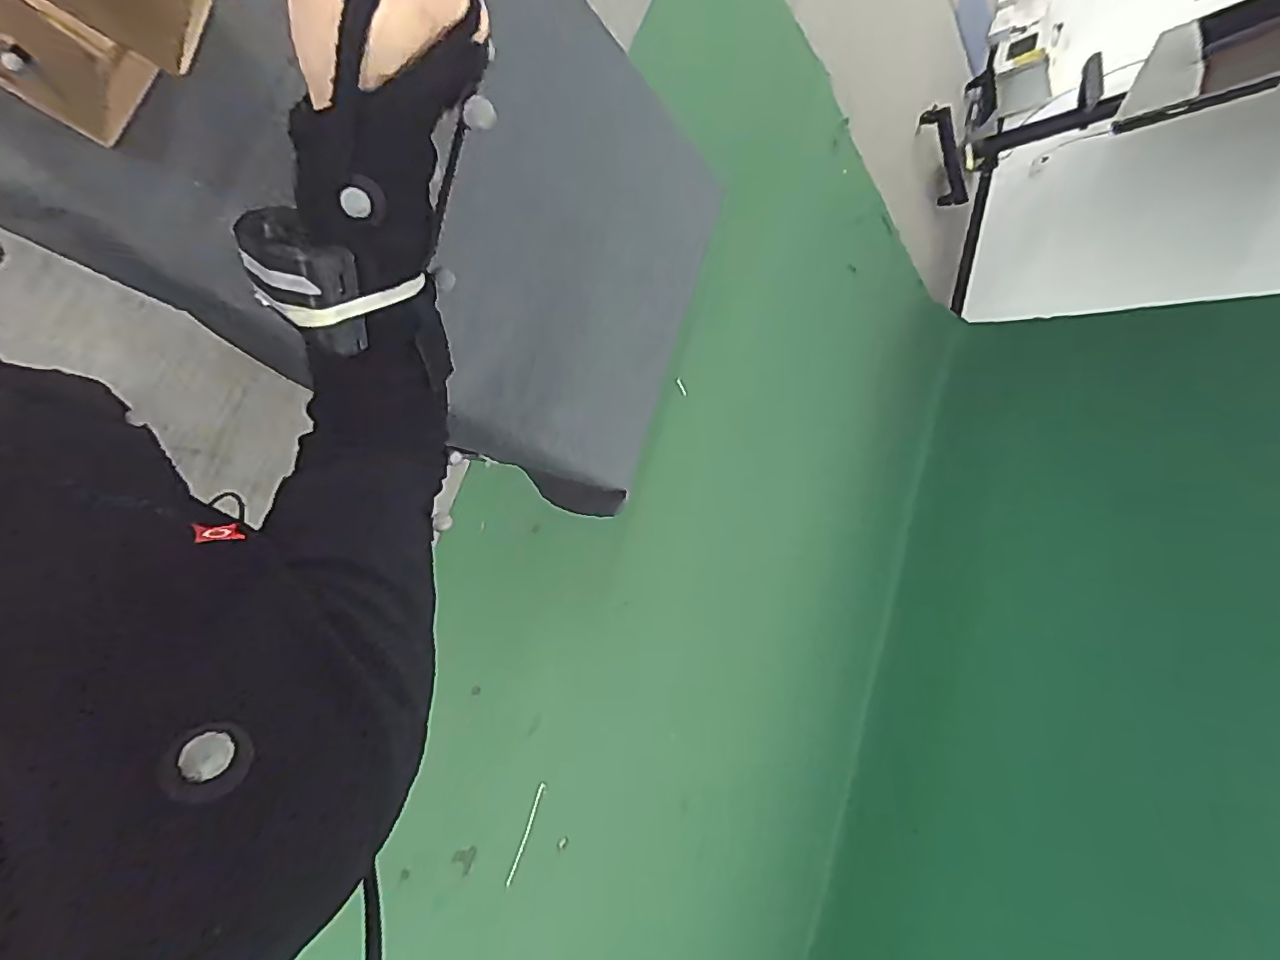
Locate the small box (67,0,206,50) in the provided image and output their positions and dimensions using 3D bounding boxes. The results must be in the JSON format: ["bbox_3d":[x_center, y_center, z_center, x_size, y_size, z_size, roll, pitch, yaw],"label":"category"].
[{"bbox_3d":[-0.299,-0.373,0.263,0.179,0.176,0.168,20,81,-45],"label":"small box"}]

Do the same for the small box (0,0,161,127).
[{"bbox_3d":[-0.424,-0.390,0.366,0.168,0.176,0.179,30,73,-44],"label":"small box"}]
